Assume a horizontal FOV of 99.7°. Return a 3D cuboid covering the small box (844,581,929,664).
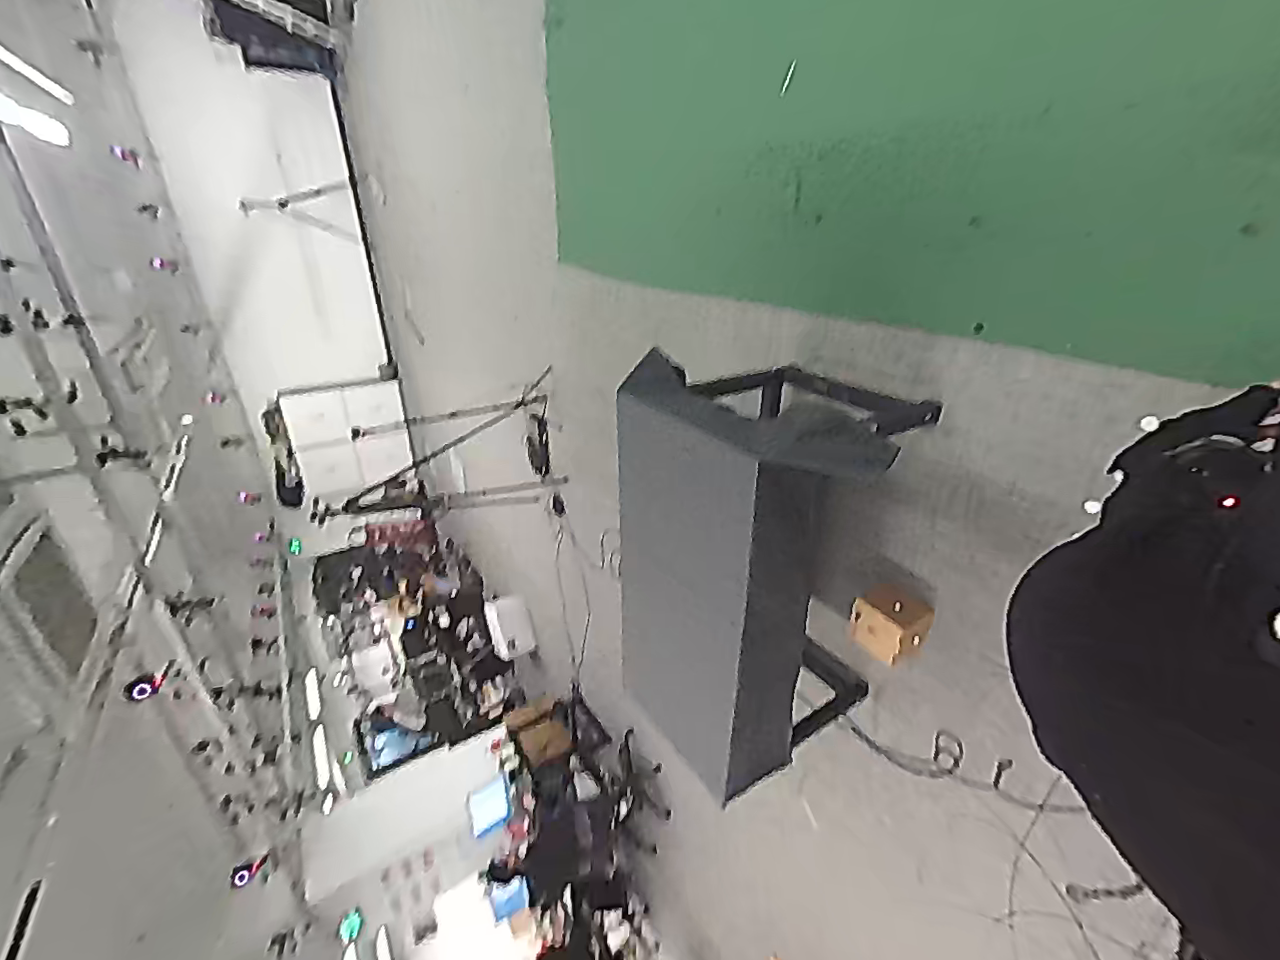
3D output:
[{"bbox_3d":[0.807,0.457,1.767,0.179,0.176,0.168,38,135,45],"label":"small box"}]
